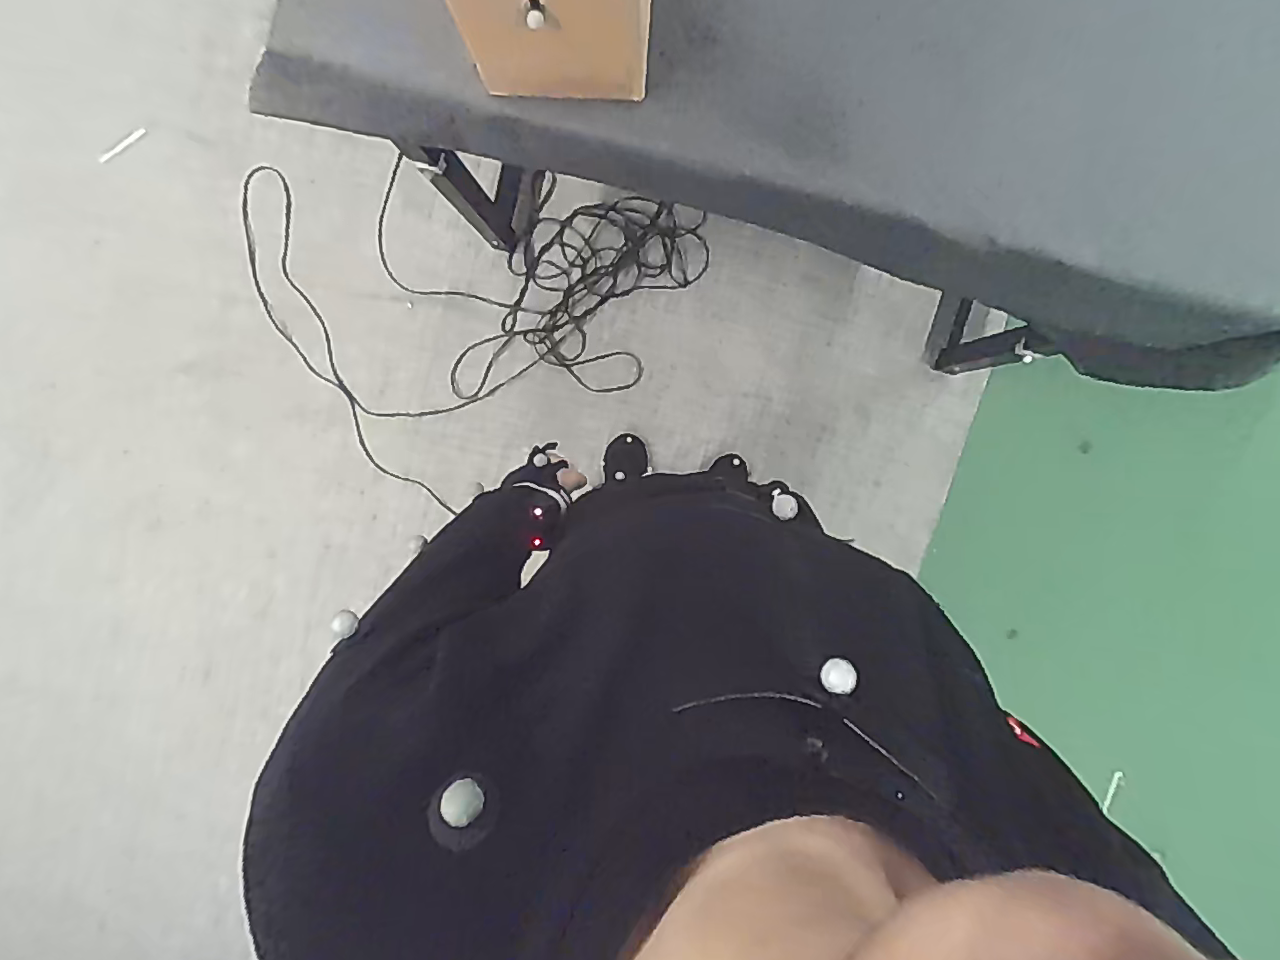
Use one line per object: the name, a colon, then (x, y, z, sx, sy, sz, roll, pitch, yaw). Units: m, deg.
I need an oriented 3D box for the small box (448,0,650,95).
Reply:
small box: (-0.077, -0.499, 0.509, 0.179, 0.176, 0.168, 4, 95, 2)
